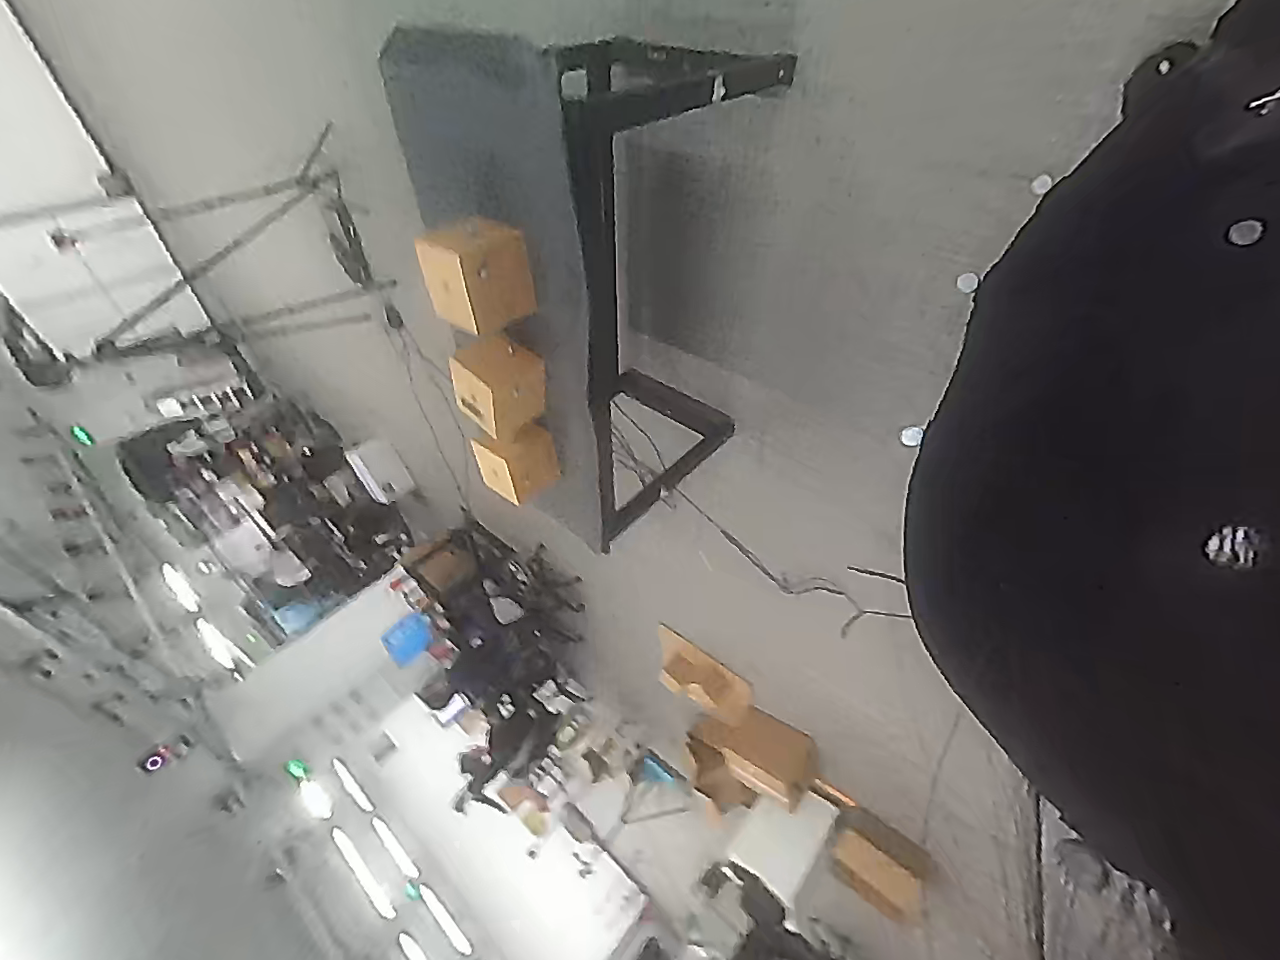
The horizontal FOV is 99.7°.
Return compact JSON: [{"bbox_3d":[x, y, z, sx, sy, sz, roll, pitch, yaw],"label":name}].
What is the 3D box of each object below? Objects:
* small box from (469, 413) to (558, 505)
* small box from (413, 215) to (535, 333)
[{"bbox_3d":[-0.361,-0.067,1.569,0.168,0.176,0.179,28,140,32],"label":"small box"},{"bbox_3d":[-0.352,-0.453,1.173,0.168,0.176,0.179,31,142,30],"label":"small box"}]
